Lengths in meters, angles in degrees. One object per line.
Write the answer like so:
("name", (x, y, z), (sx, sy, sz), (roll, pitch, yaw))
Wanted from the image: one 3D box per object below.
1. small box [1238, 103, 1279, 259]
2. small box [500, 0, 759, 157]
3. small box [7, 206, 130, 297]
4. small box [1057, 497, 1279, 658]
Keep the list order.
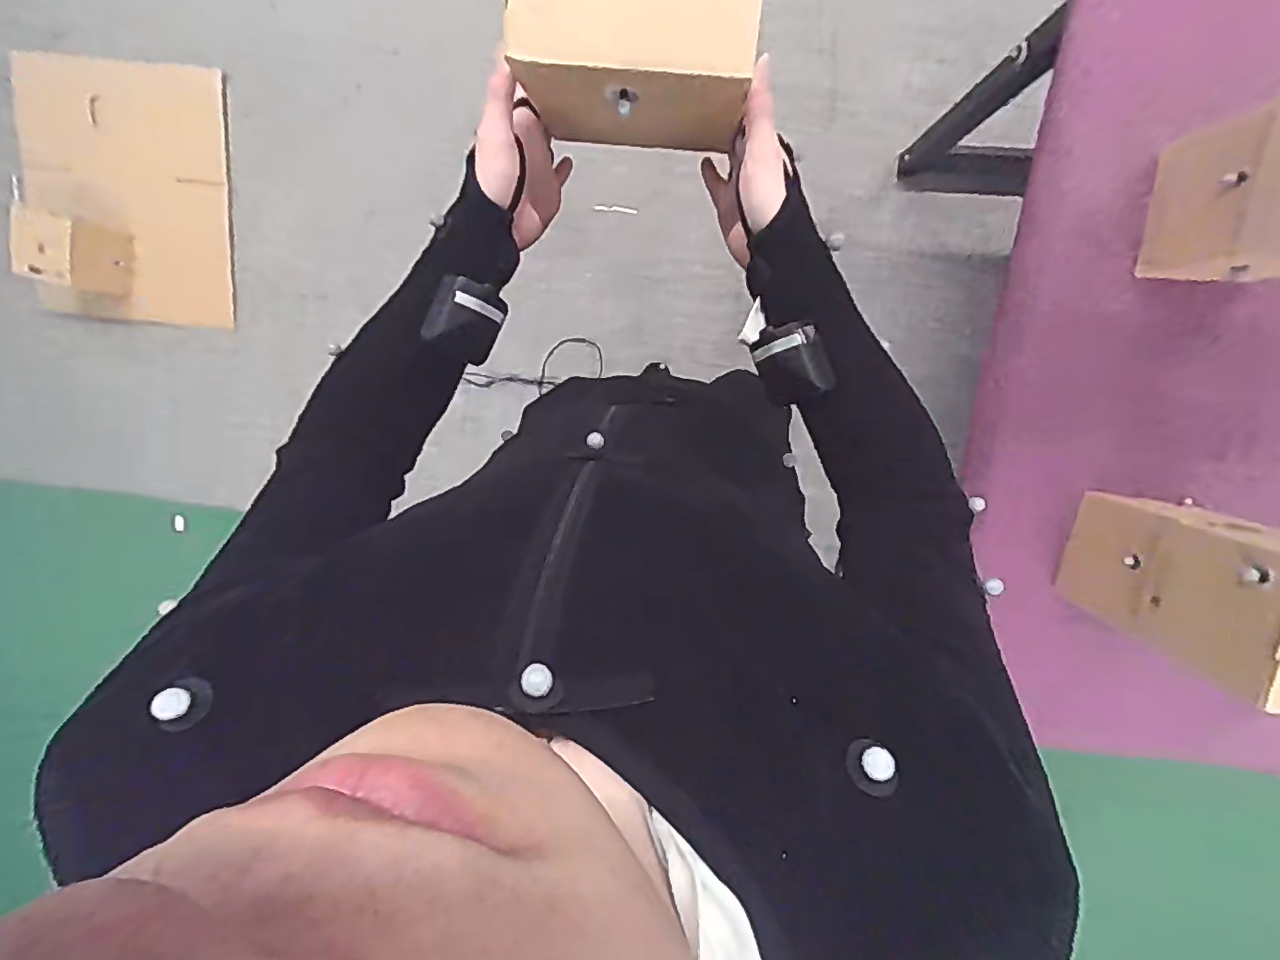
("small box", (0.781, -0.321, 0.542), (0.168, 0.176, 0.179), (5, 101, 2))
("small box", (0.001, -0.377, 0.430), (0.179, 0.176, 0.168), (6, 105, 2))
("small box", (-1.568, -0.622, 1.492), (0.168, 0.176, 0.179), (15, 102, 0))
("small box", (0.770, 0.133, 0.801), (0.168, 0.176, 0.179), (8, 102, 1))
